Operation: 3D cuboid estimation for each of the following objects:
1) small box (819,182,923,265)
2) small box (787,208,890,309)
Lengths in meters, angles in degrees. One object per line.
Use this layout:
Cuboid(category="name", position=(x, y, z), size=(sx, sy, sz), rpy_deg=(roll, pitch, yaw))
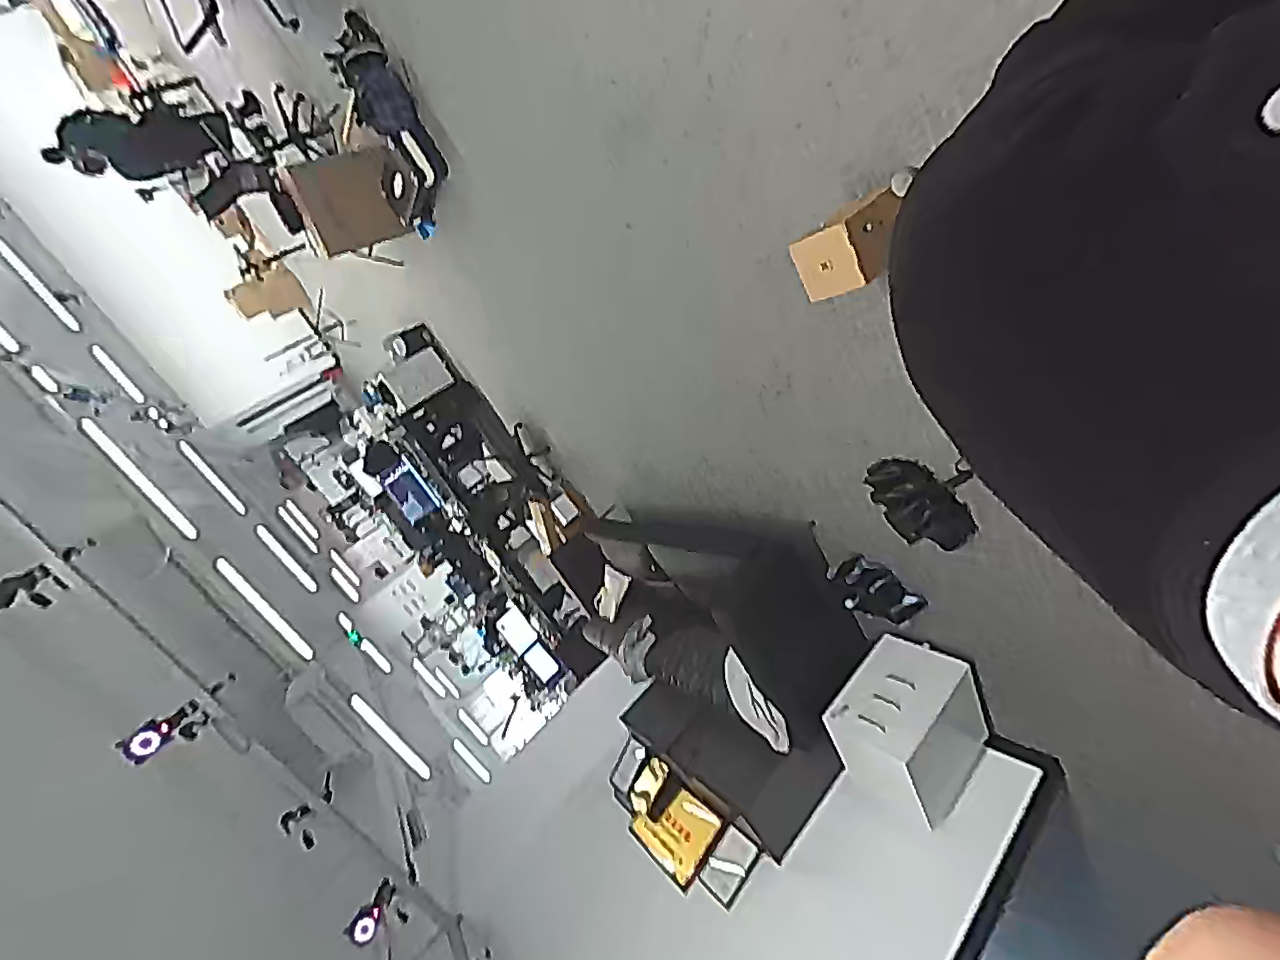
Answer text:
Cuboid(category="small box", position=(0.638, -0.681, 1.492), size=(0.168, 0.176, 0.179), rpy_deg=(56, 155, -18))
Cuboid(category="small box", position=(0.530, -0.581, 1.424), size=(0.179, 0.176, 0.168), rpy_deg=(4, 130, 60))
